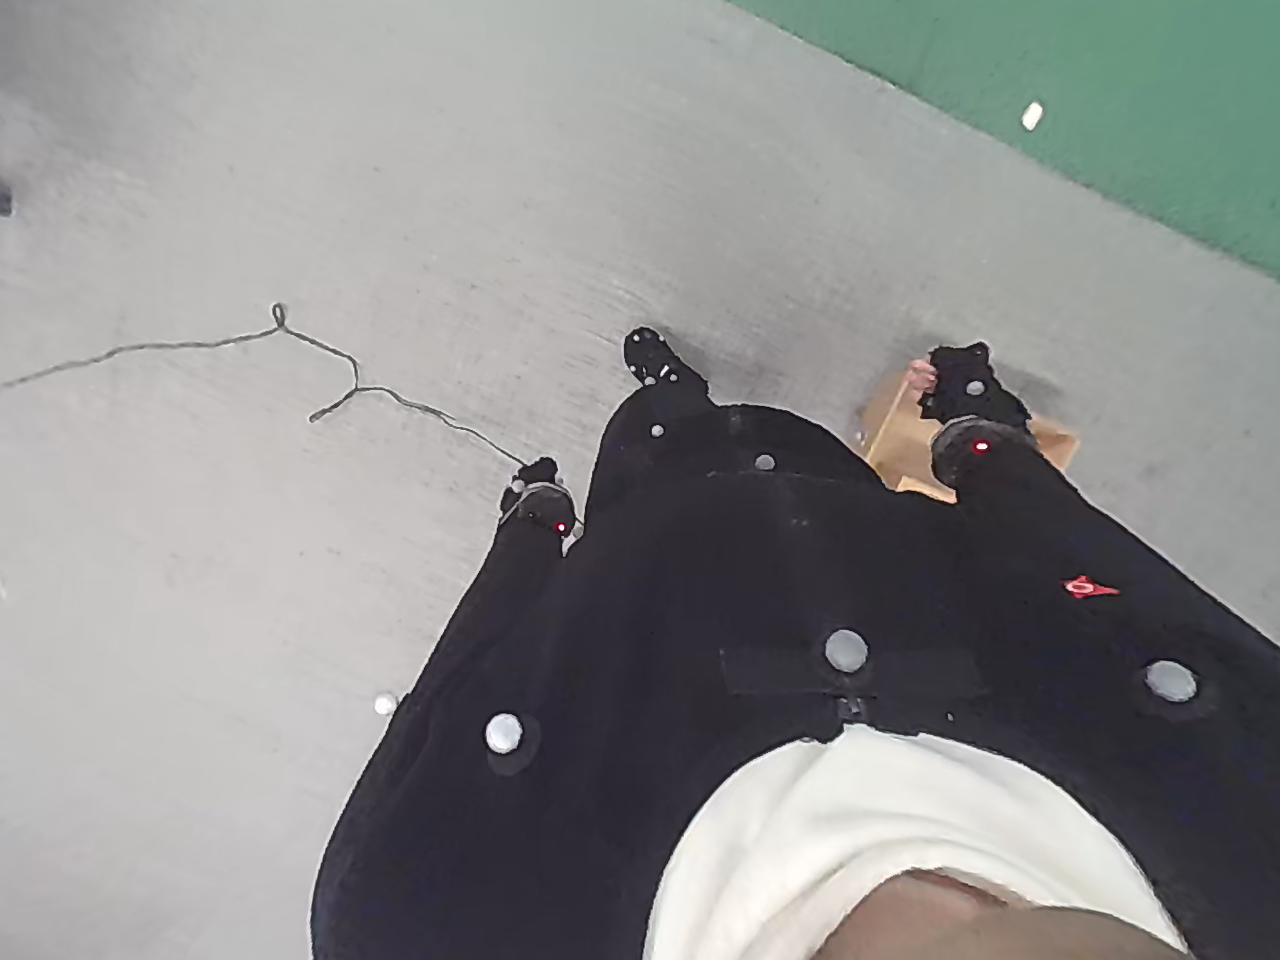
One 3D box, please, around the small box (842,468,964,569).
[{"bbox_3d":[0.610,0.082,1.282,0.179,0.176,0.168,23,102,-3],"label":"small box"}]
